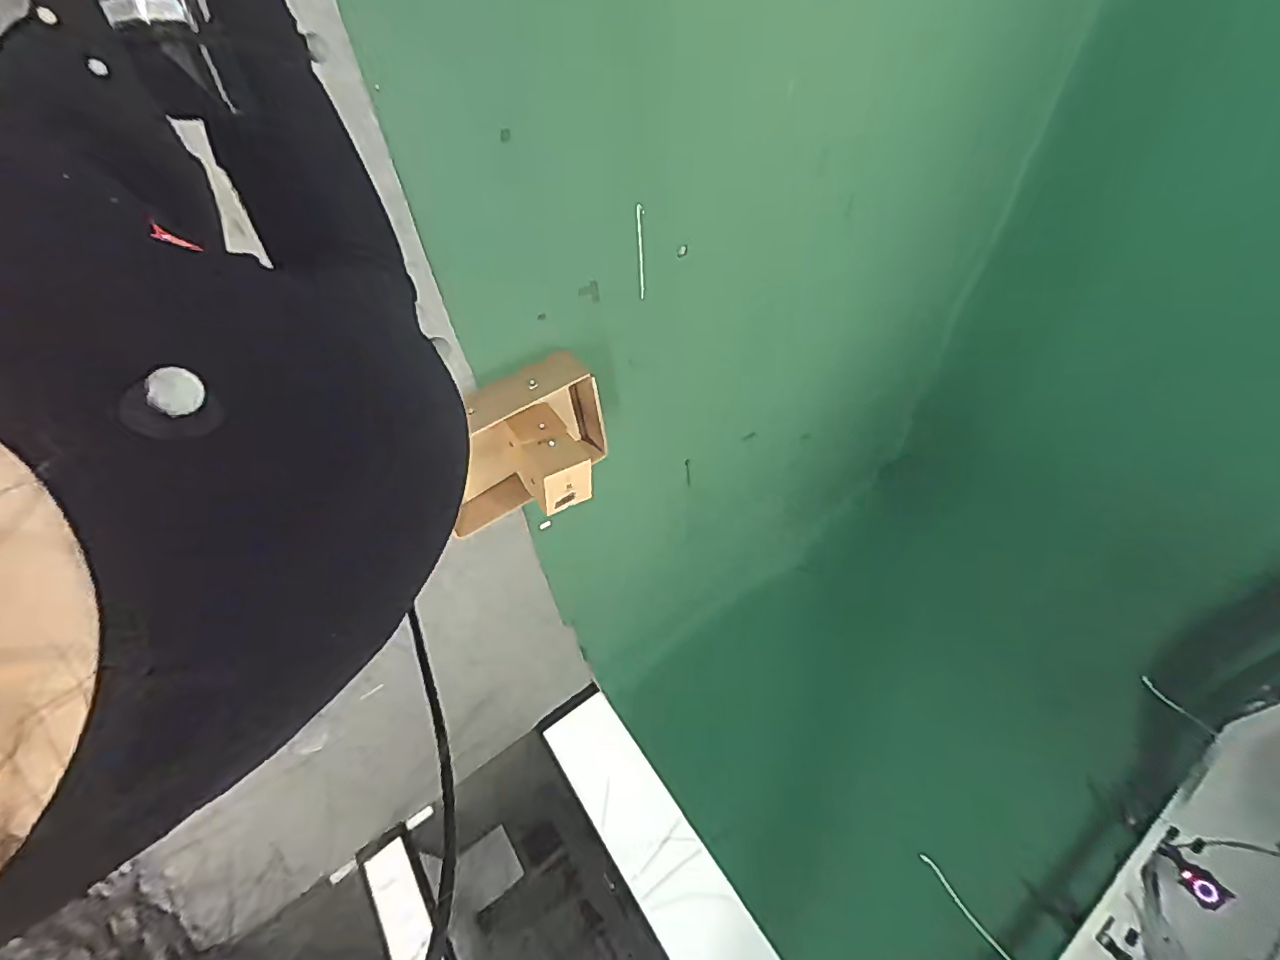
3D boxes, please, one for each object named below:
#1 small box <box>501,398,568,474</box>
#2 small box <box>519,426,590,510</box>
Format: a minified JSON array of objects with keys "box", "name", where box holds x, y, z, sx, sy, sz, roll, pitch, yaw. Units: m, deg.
[{"box":[-0.359,-0.152,1.818,0.179,0.176,0.168,-21,142,-28],"name":"small box"},{"box":[-0.272,-0.042,1.729,0.168,0.176,0.179,-24,142,-26],"name":"small box"}]
